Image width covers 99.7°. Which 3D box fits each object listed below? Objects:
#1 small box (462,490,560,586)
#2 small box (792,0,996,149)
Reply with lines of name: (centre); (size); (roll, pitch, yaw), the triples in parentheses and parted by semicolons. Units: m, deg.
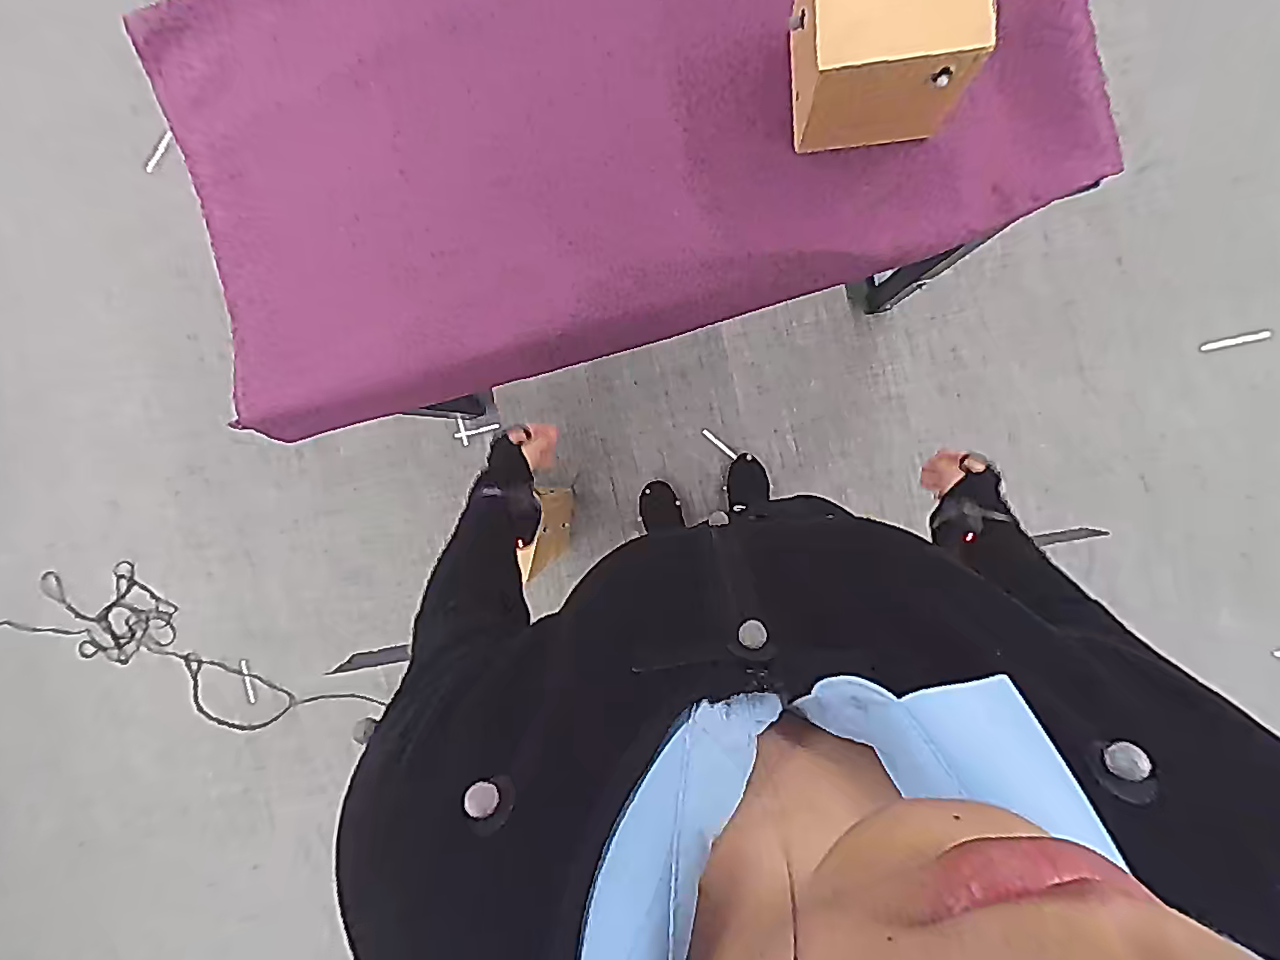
small box: (-0.302, 0.131, 1.302); (0.168, 0.176, 0.179); (15, 96, 4)
small box: (0.275, -0.514, 0.624); (0.179, 0.176, 0.168); (-3, 94, 7)
